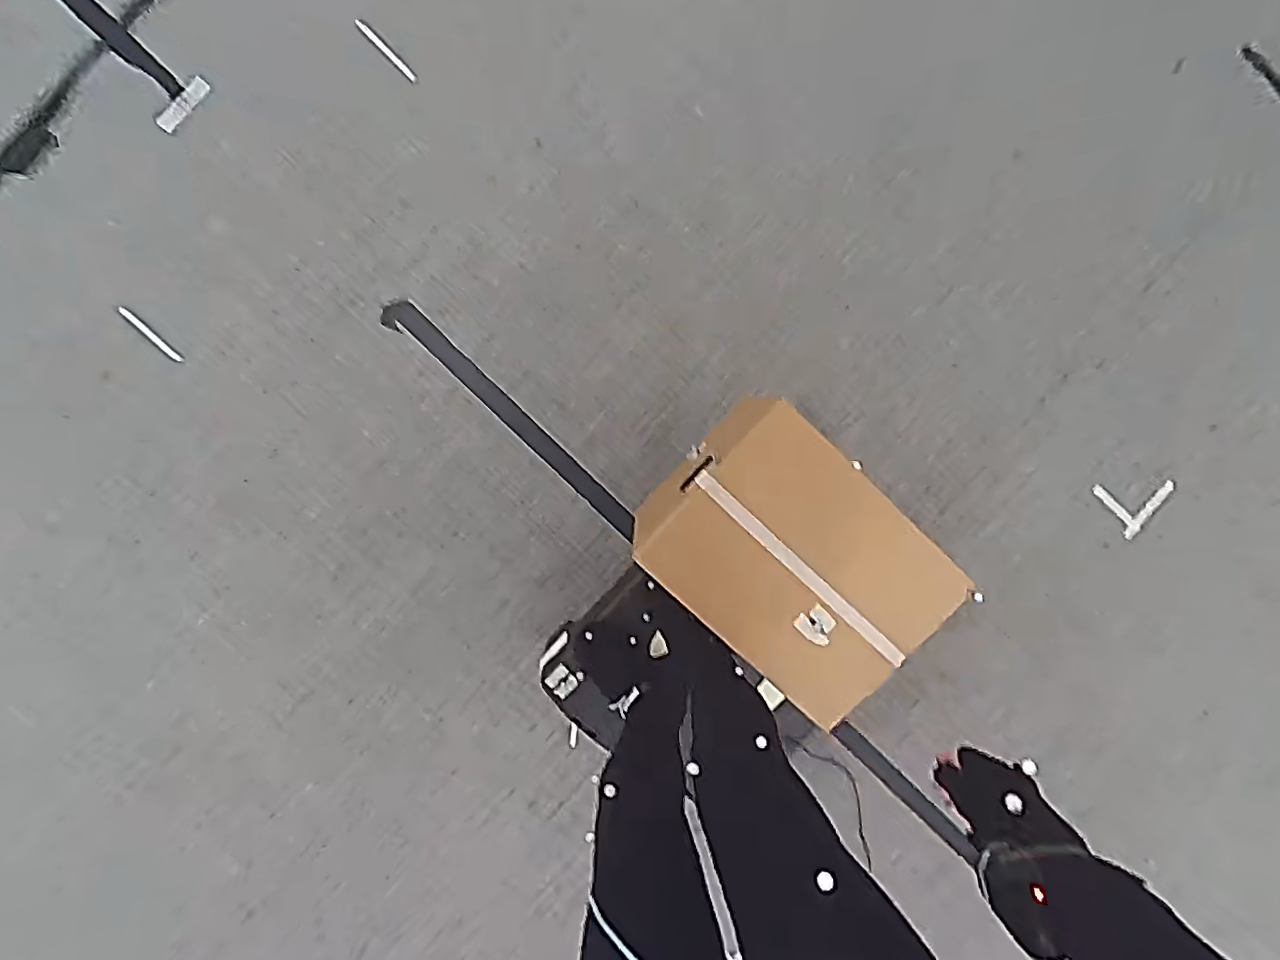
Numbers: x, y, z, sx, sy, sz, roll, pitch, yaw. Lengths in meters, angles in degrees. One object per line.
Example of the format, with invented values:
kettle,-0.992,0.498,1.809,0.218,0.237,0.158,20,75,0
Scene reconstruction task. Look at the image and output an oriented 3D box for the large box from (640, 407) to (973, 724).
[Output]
large box,0.245,0.115,0.941,0.408,0.320,0.320,42,97,-5
